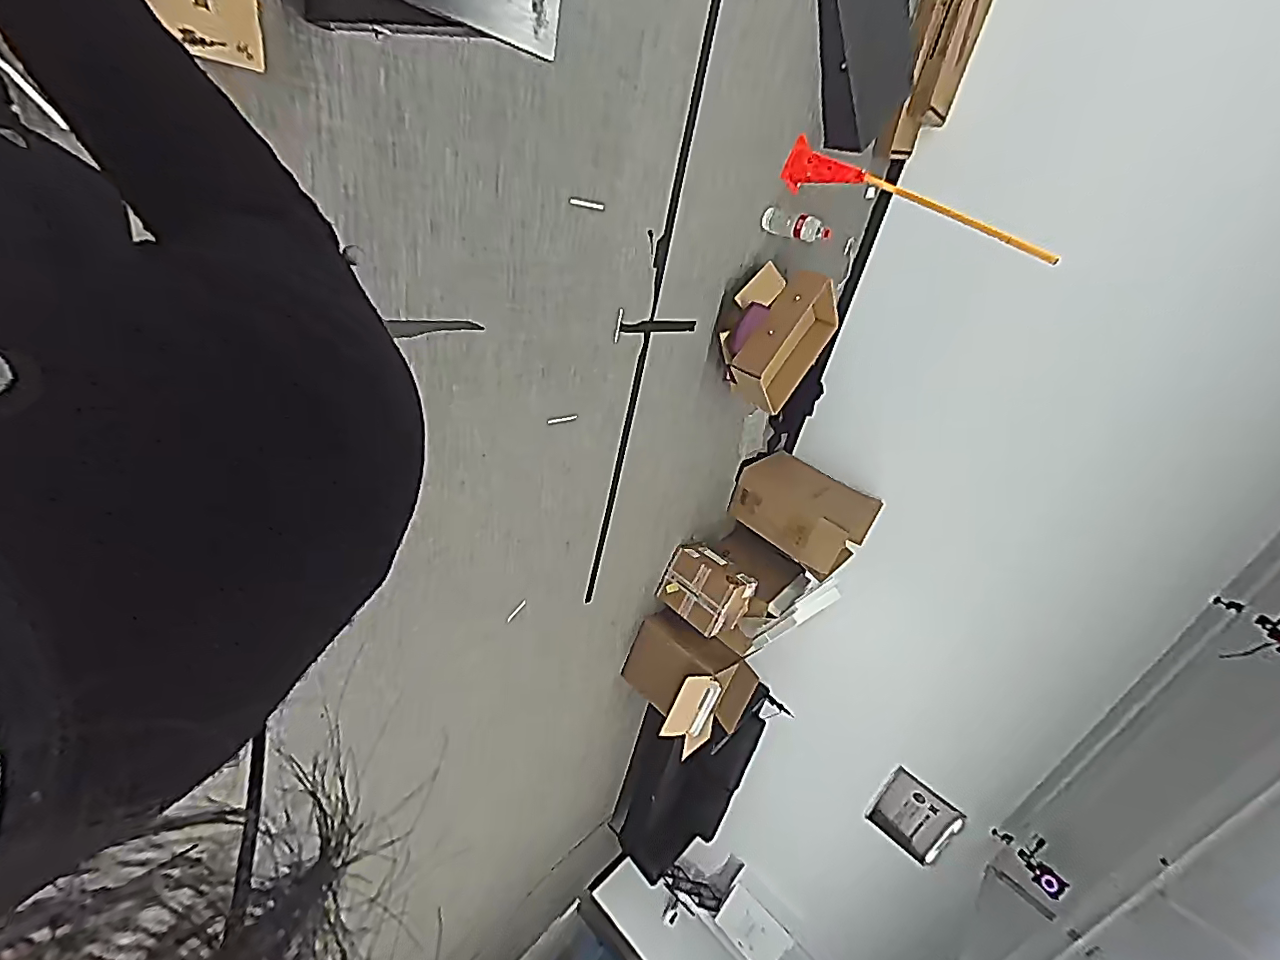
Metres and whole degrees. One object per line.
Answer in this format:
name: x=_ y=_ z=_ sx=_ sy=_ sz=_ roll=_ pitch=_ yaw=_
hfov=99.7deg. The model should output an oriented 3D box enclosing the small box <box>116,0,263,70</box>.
small box: x=-0.772 y=-0.826 z=0.915 sx=0.168 sy=0.176 sz=0.179 roll=-19 pitch=131 yaw=-44
